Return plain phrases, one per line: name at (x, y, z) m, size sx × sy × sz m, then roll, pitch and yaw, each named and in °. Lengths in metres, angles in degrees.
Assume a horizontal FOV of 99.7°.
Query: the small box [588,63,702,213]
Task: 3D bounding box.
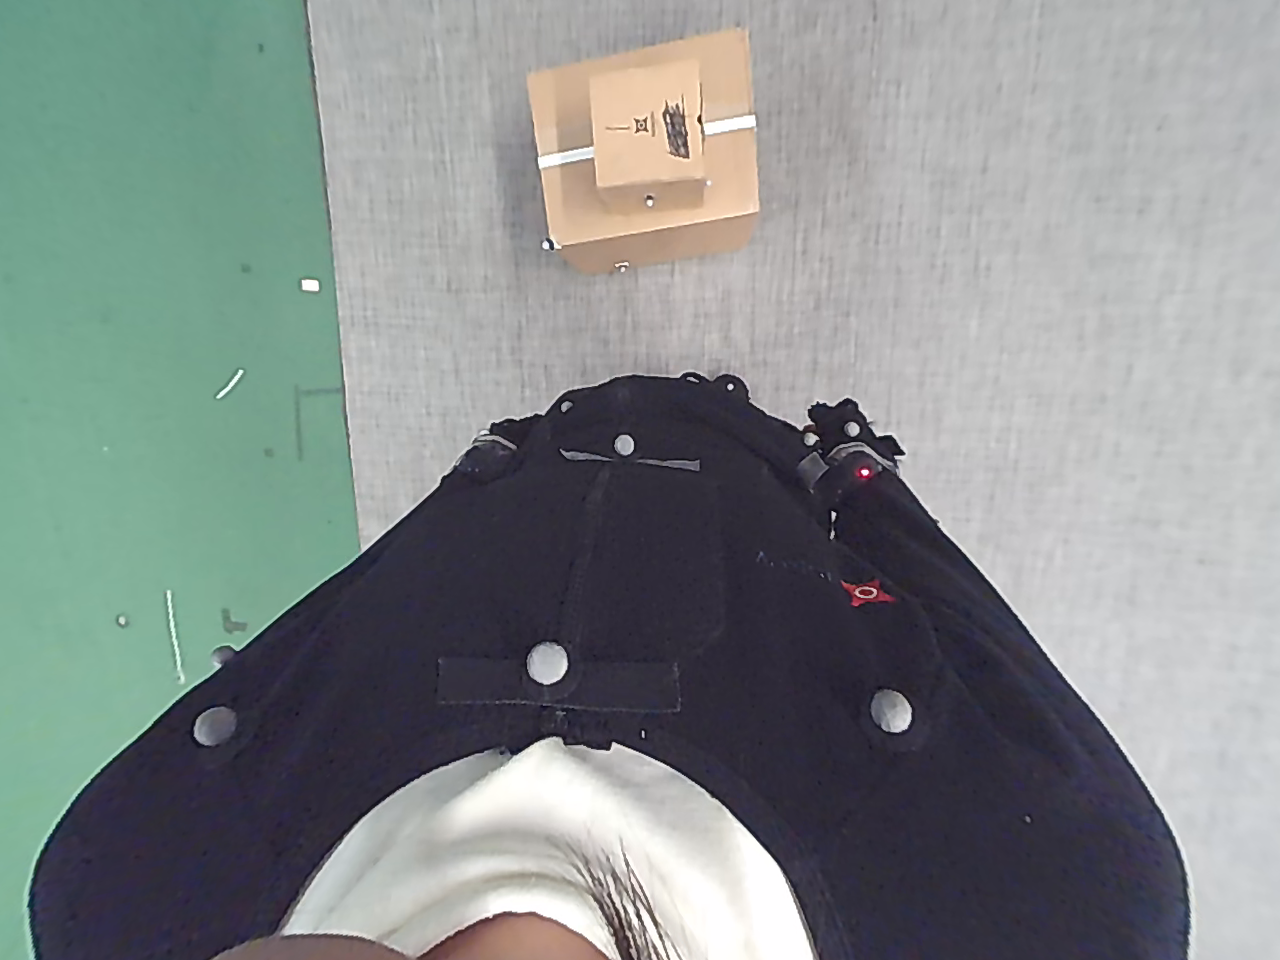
small box at (0.016, -0.576, 0.933) m, size 0.179 × 0.176 × 0.168 m, roll -2°, pitch 101°, yaw 8°
